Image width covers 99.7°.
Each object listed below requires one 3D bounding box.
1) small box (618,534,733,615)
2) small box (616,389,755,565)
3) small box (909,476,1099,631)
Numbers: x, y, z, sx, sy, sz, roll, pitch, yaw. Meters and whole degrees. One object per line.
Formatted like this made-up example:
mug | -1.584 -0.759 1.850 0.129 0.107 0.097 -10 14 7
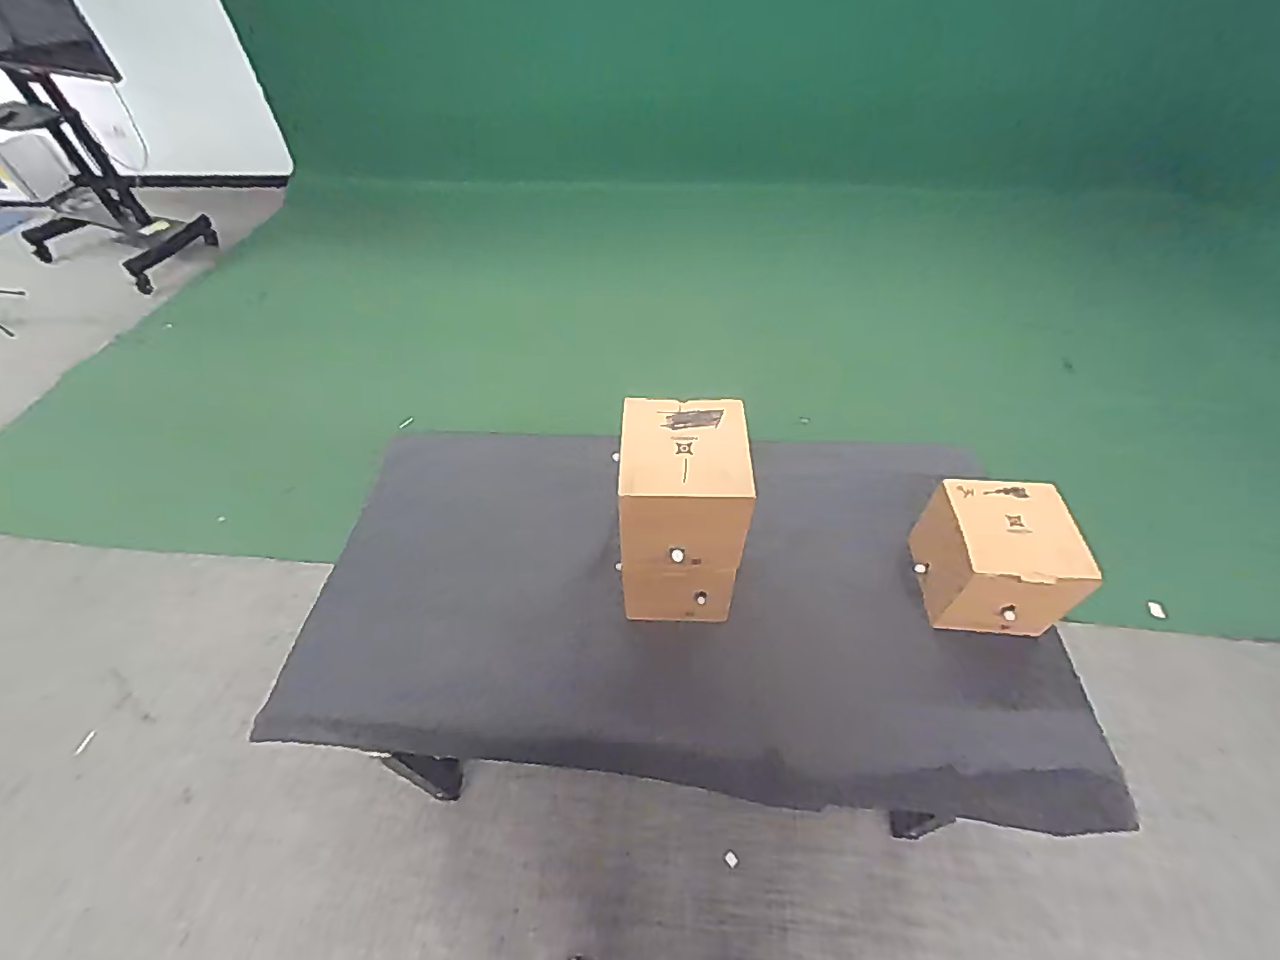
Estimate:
small box | 0.057 0.102 0.869 0.168 0.176 0.179 2 48 2
small box | 0.056 -0.003 0.743 0.168 0.176 0.179 1 51 2
small box | 0.542 0.117 0.837 0.168 0.176 0.179 4 50 5
